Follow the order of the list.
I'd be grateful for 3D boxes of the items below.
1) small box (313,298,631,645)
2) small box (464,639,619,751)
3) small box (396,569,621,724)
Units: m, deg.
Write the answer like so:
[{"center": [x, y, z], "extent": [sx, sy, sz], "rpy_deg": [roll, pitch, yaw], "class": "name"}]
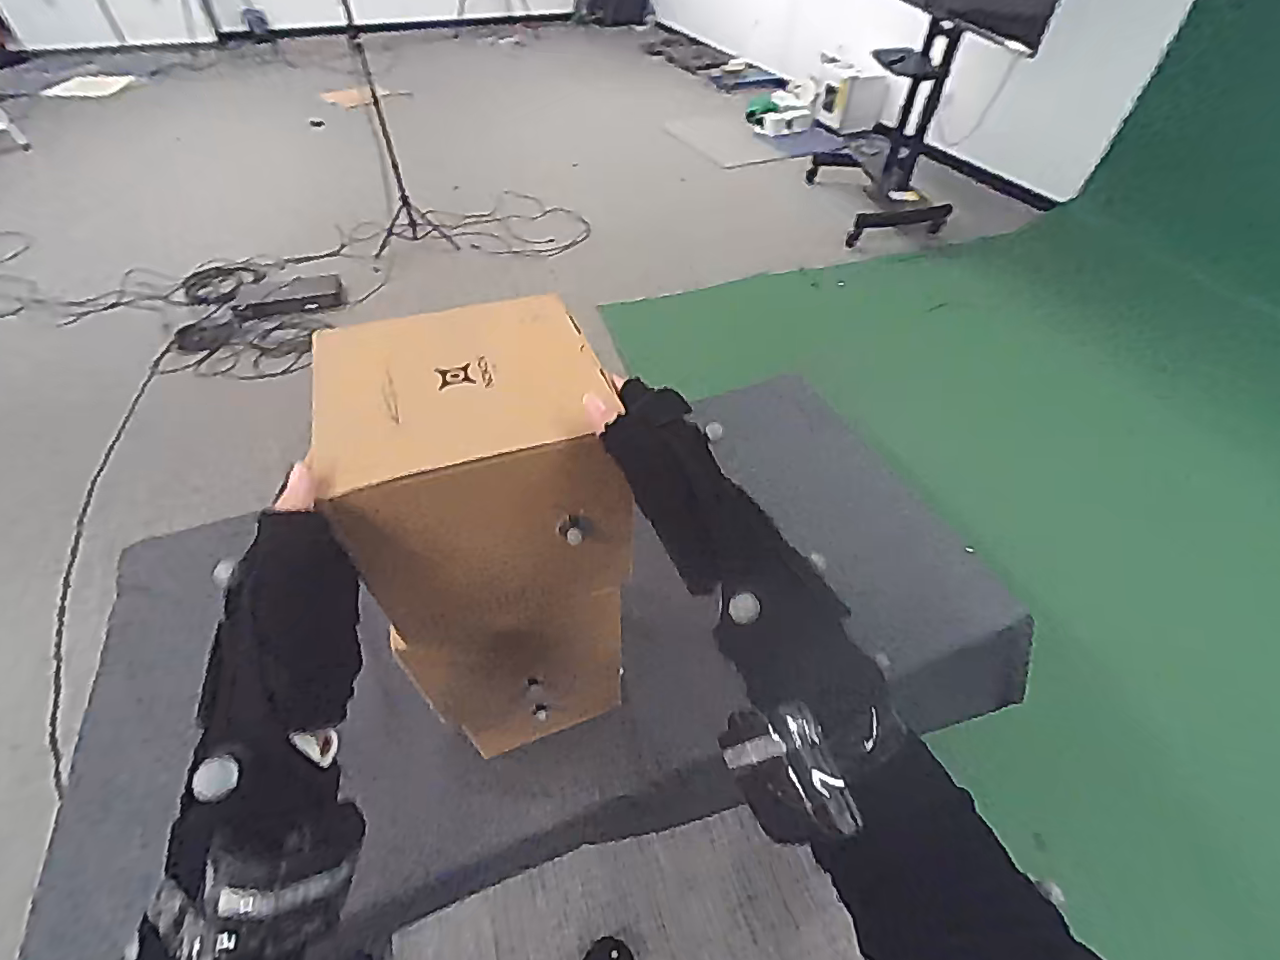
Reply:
[{"center": [-0.116, -0.008, 0.404], "extent": [0.179, 0.176, 0.168], "rpy_deg": [-17, 49, -15], "class": "small box"}, {"center": [-0.132, 0.199, 0.659], "extent": [0.179, 0.176, 0.168], "rpy_deg": [-17, 50, -14], "class": "small box"}, {"center": [-0.127, 0.107, 0.526], "extent": [0.179, 0.176, 0.168], "rpy_deg": [-17, 52, -14], "class": "small box"}]
